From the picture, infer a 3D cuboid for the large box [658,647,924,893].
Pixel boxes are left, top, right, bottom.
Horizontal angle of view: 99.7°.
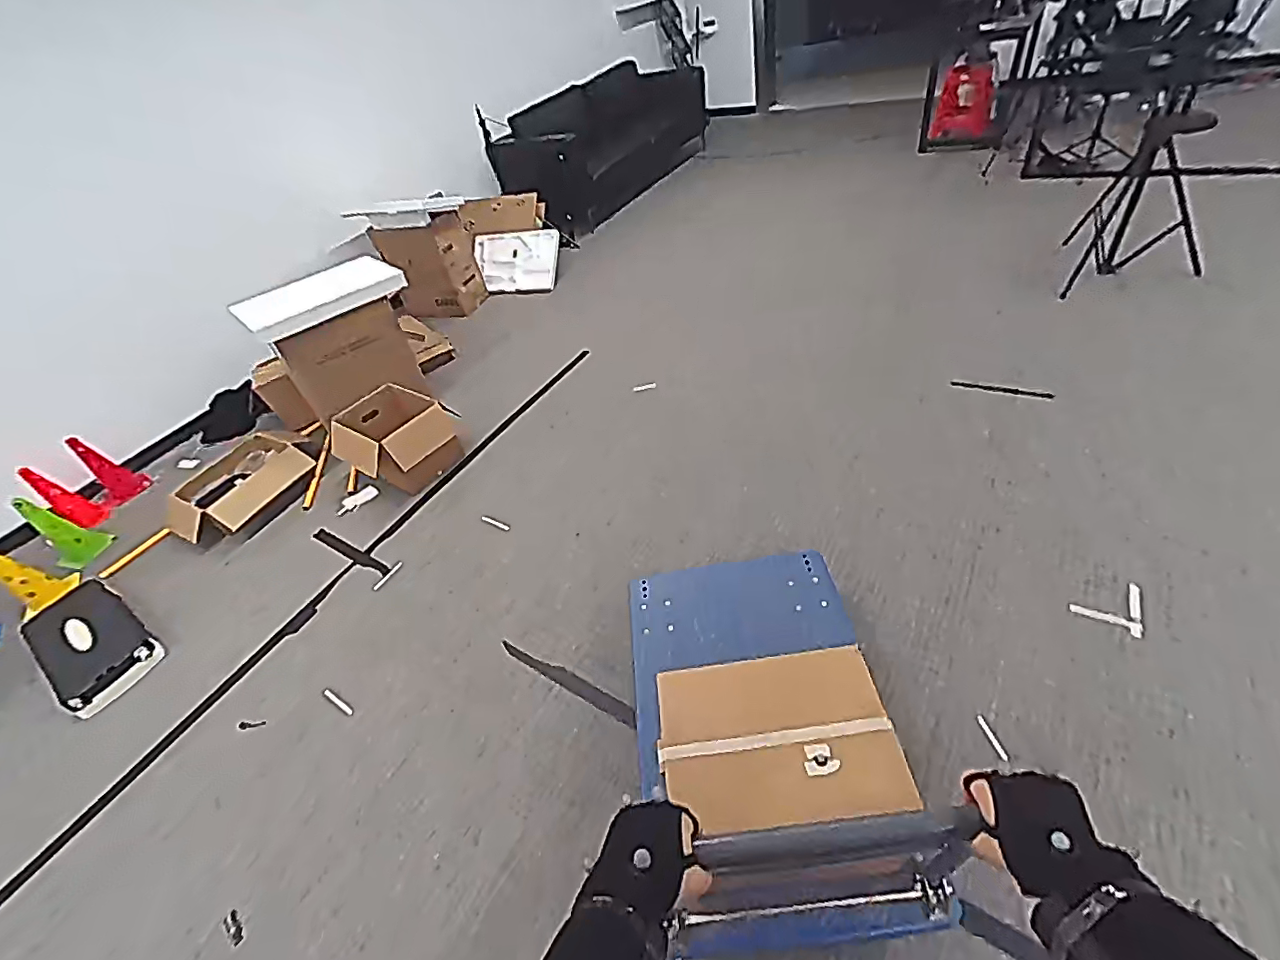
[{"bbox_3d":[0.263,0.572,1.065,0.408,0.320,0.320,-9,43,3],"label":"large box"}]
